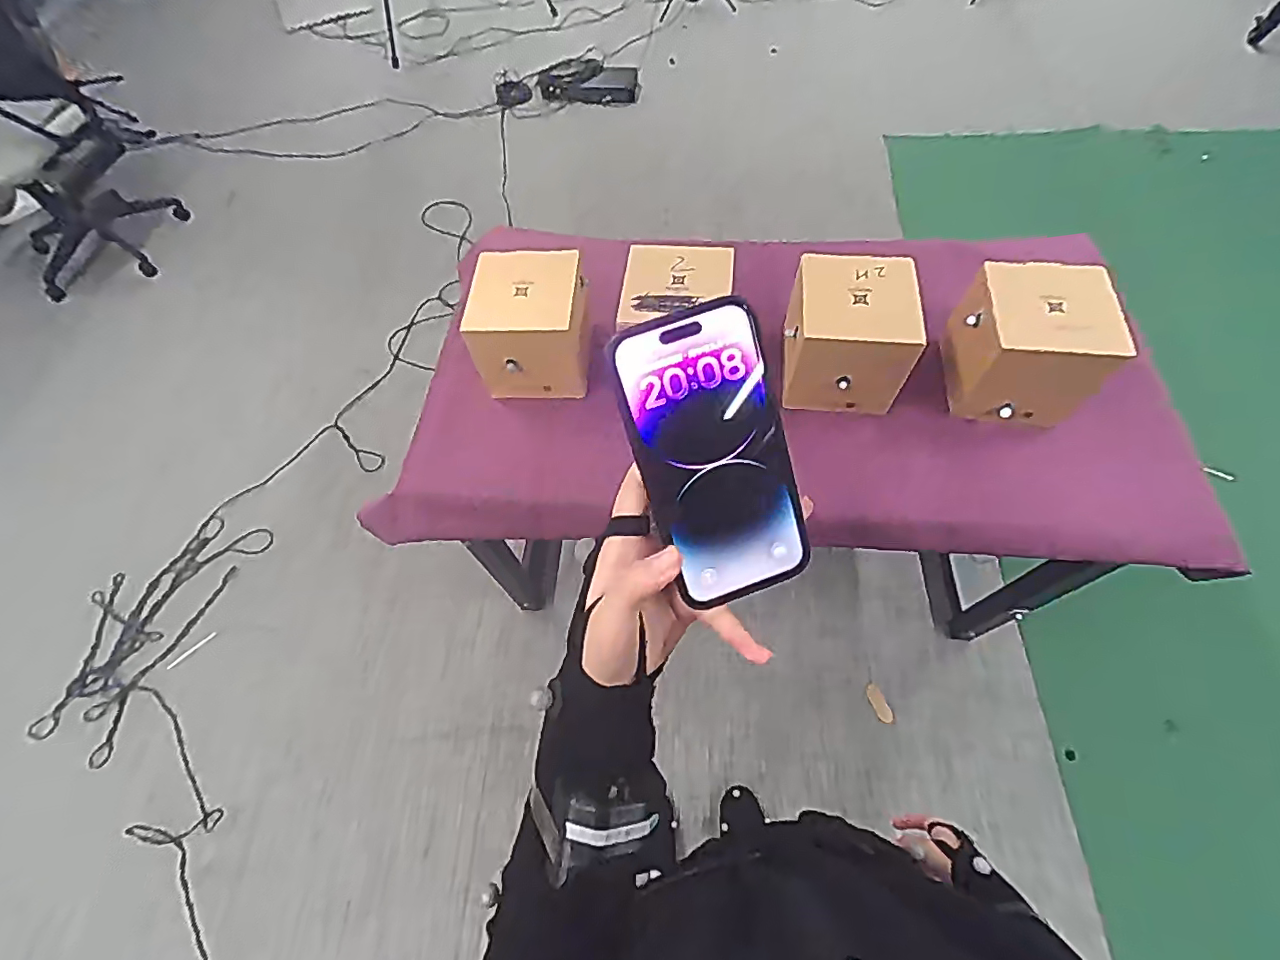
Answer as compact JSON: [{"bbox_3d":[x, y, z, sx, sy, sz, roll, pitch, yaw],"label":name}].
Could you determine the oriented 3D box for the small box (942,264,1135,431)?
[{"bbox_3d":[0.581,-0.198,0.821,0.168,0.176,0.179,6,61,9],"label":"small box"}]

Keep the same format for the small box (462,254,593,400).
[{"bbox_3d":[-0.174,-0.247,0.901,0.168,0.176,0.179,0,60,4],"label":"small box"}]

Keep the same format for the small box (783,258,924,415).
[{"bbox_3d":[0.323,-0.220,0.850,0.168,0.176,0.179,6,61,7],"label":"small box"}]
